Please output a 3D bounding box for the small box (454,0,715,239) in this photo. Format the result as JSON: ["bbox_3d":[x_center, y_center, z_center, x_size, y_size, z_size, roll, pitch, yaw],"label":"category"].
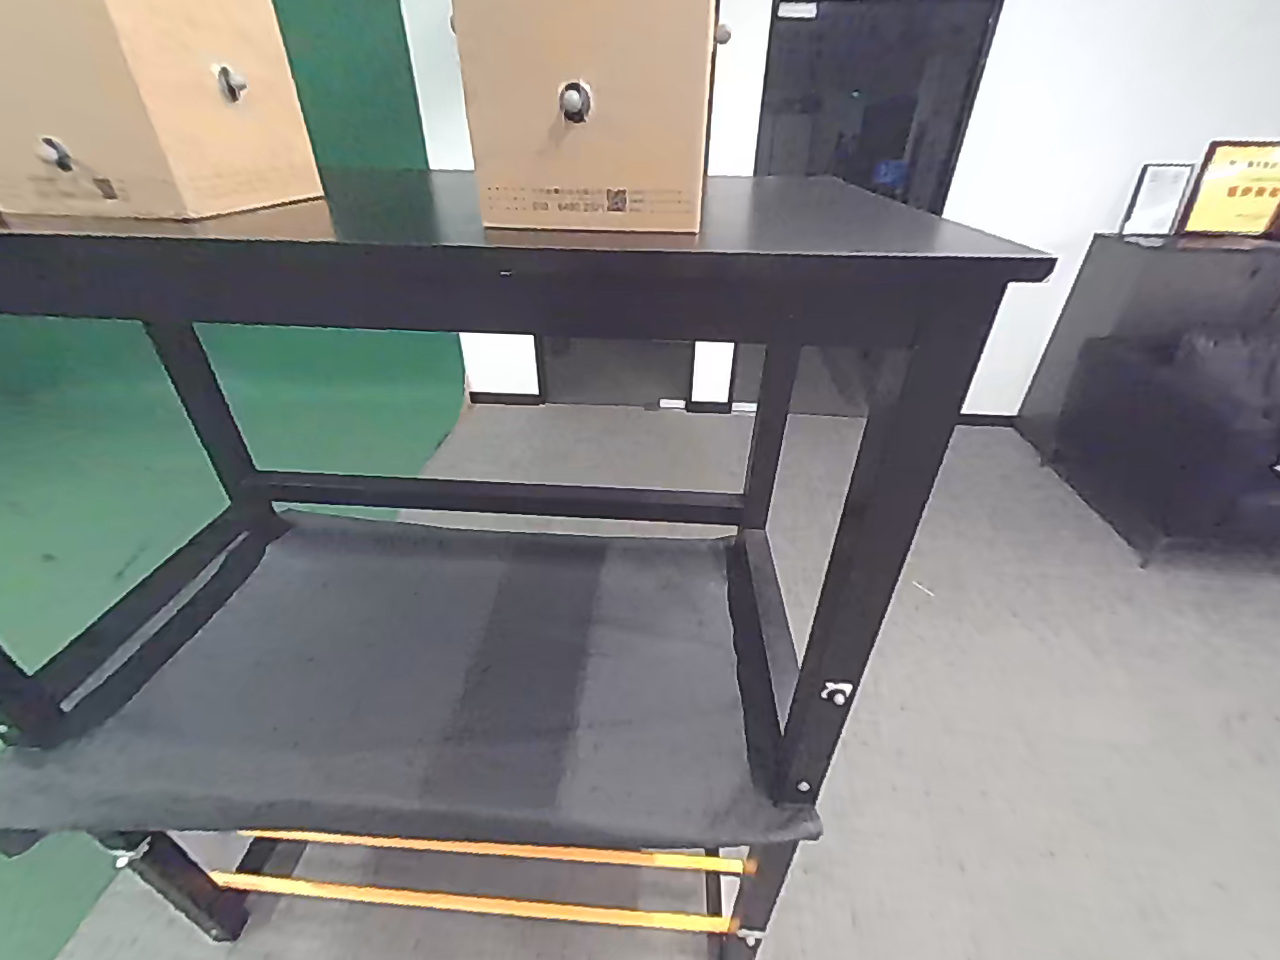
[{"bbox_3d":[-0.028,-0.297,0.432,0.168,0.176,0.179,4,34,4],"label":"small box"}]
